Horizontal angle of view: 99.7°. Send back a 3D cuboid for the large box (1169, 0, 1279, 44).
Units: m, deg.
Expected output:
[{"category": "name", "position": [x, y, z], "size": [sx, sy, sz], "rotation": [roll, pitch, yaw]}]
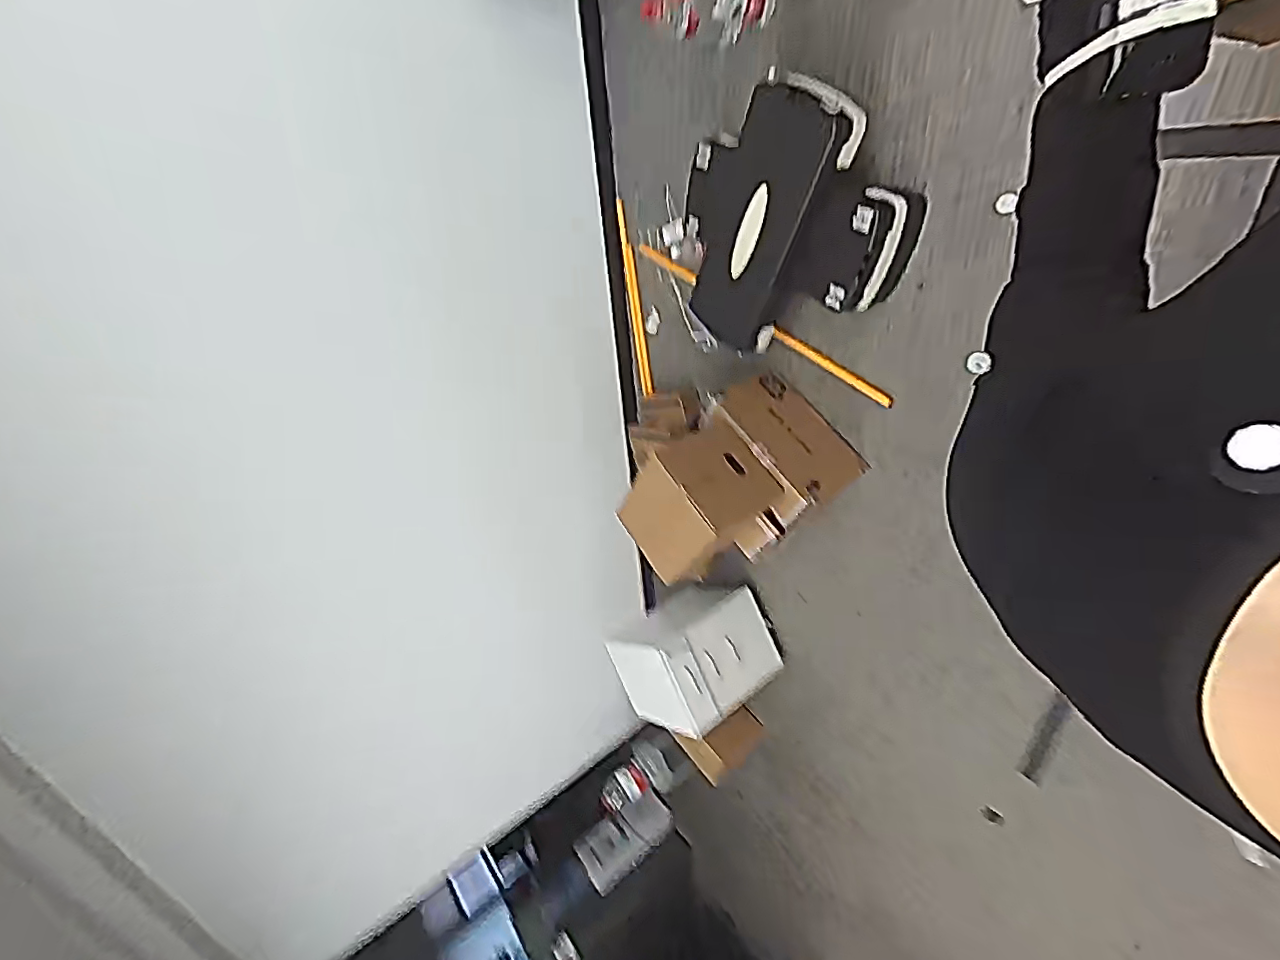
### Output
[{"category": "large box", "position": [0.540, -0.484, 0.235], "size": [0.408, 0.320, 0.320], "rotation": [8, 118, 55]}]
